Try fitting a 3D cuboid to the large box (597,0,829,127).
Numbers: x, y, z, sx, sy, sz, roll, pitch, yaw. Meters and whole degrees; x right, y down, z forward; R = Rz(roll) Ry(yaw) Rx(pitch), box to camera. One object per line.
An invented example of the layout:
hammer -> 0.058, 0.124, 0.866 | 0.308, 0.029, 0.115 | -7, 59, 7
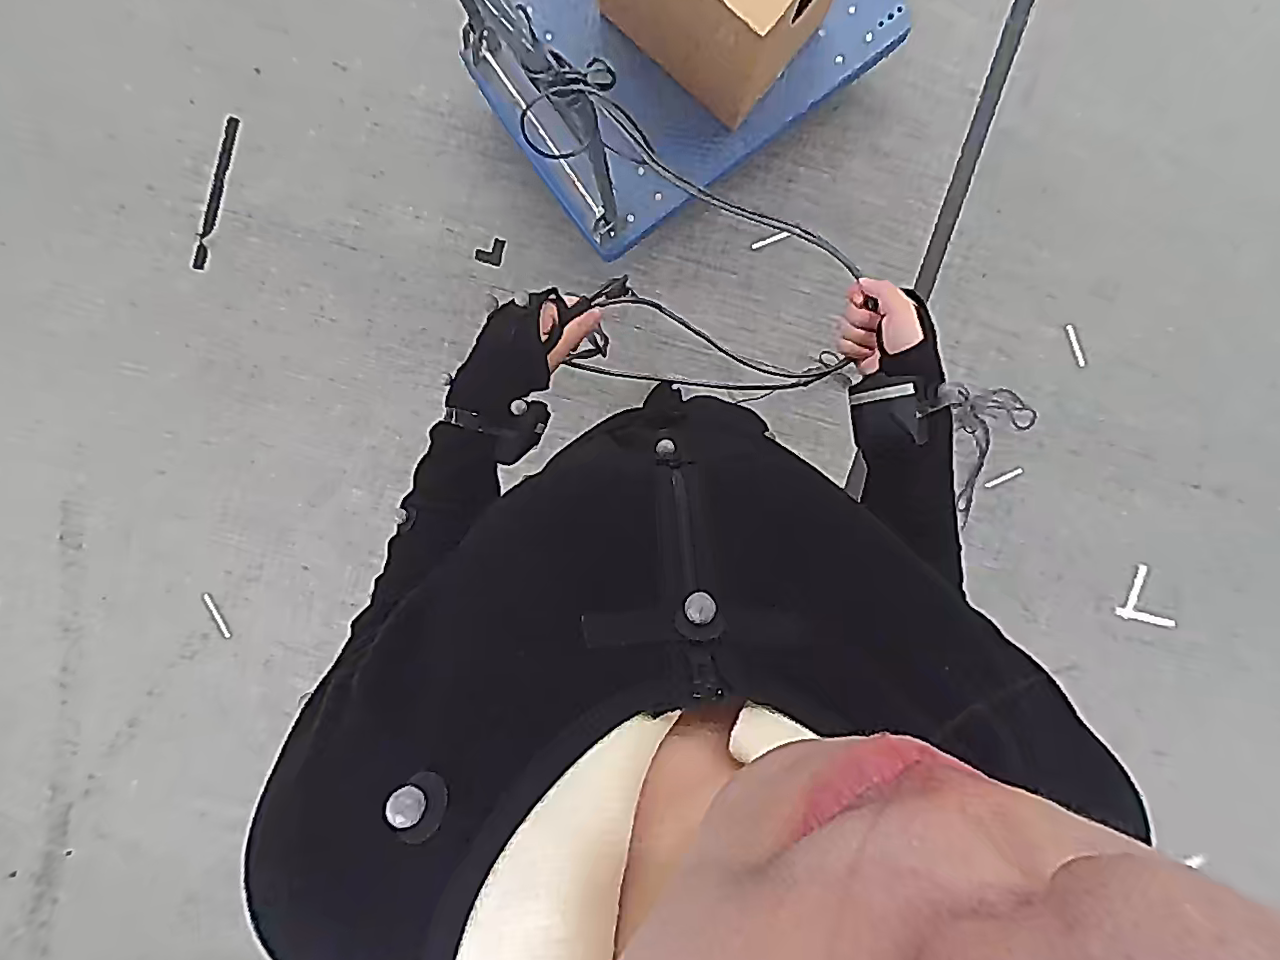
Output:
large box -> 0.154, -1.012, 1.047 | 0.408, 0.320, 0.320 | 39, 96, -5
